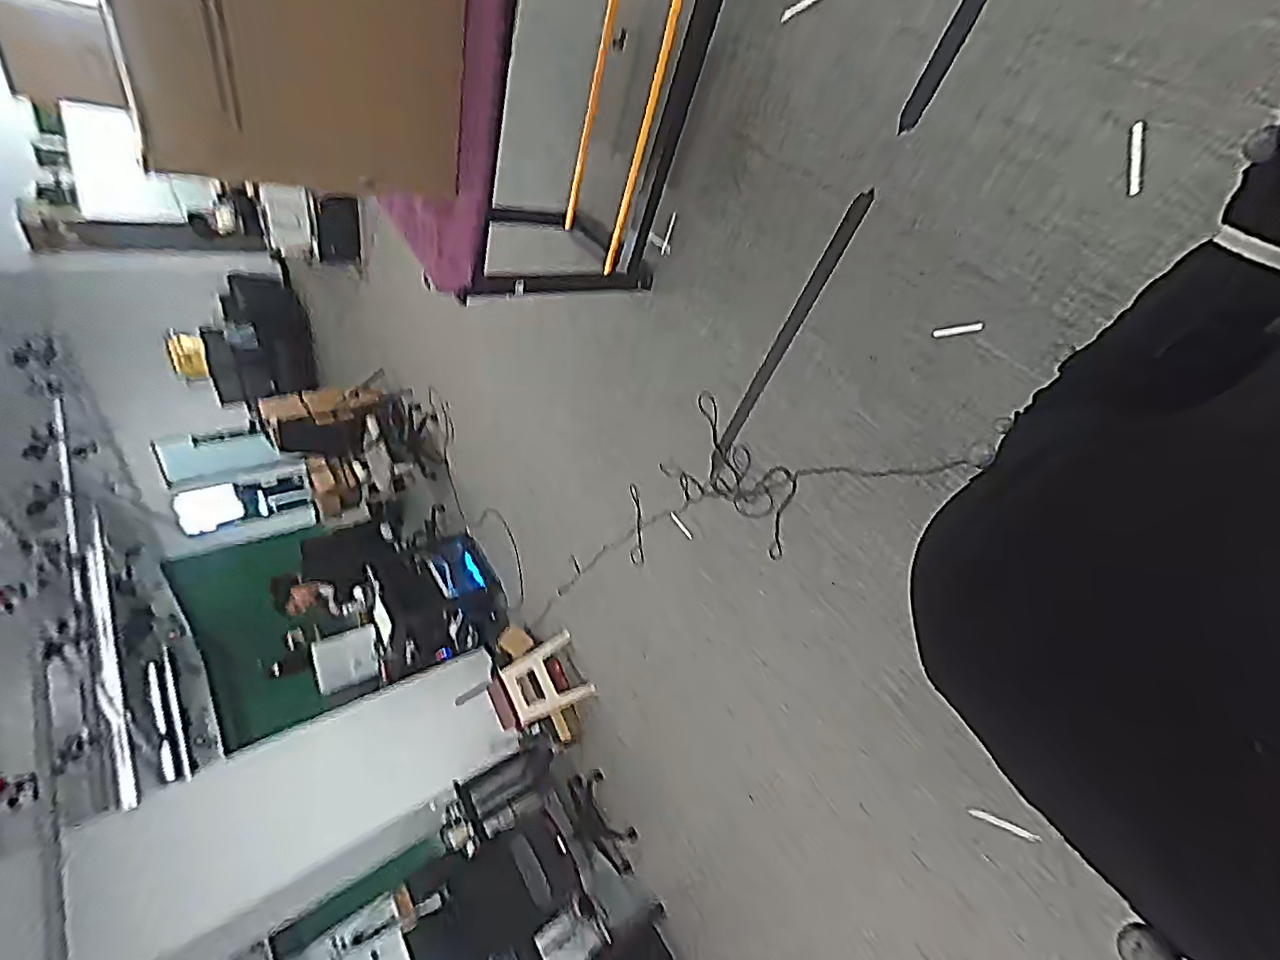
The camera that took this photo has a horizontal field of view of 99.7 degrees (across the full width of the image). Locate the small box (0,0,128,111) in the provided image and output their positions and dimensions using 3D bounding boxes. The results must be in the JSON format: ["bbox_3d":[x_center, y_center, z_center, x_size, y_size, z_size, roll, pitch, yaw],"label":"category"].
[{"bbox_3d":[-1.149,-0.856,1.067,0.179,0.176,0.168,49,137,29],"label":"small box"}]
